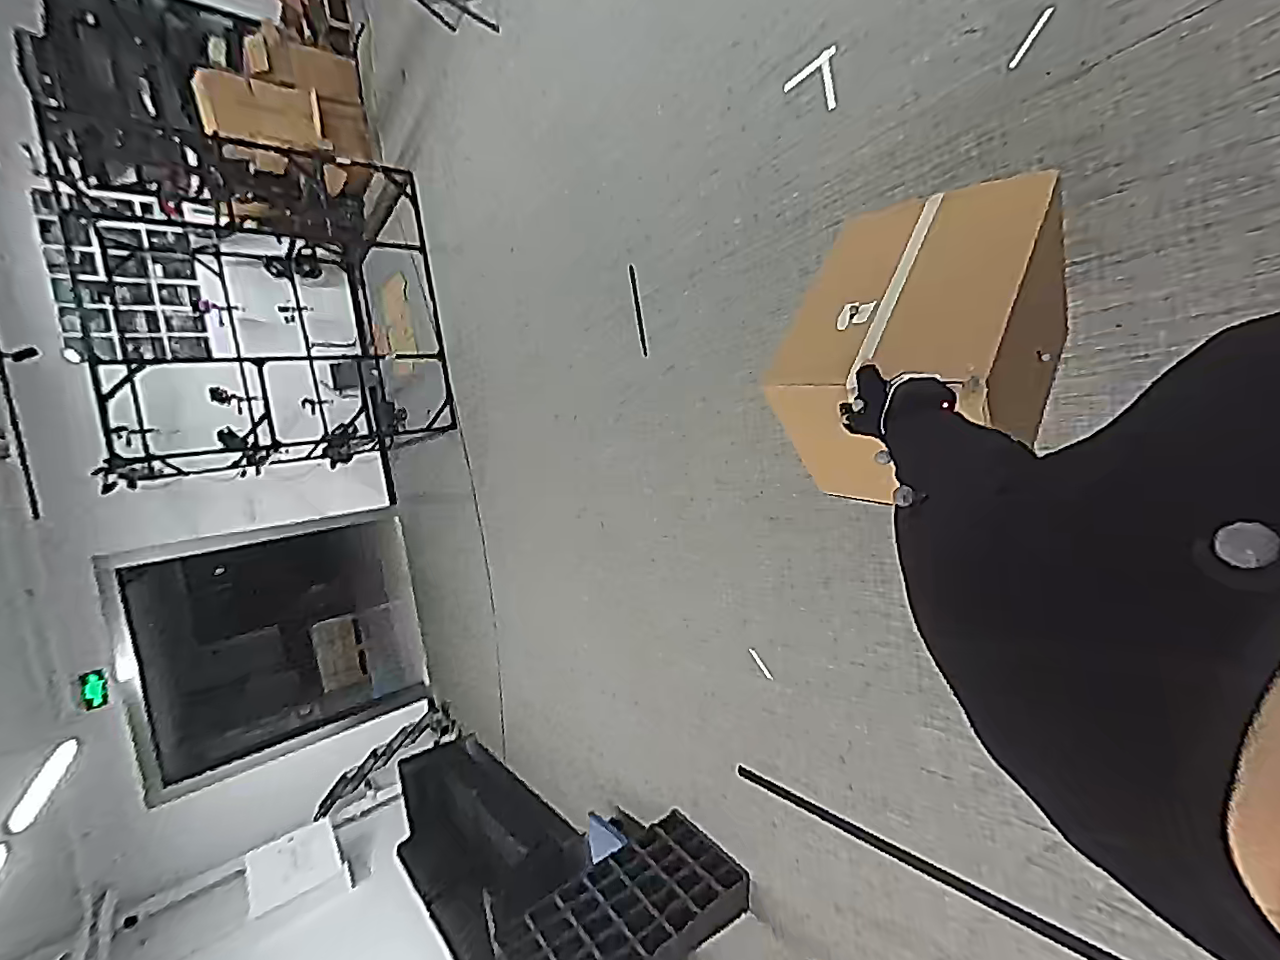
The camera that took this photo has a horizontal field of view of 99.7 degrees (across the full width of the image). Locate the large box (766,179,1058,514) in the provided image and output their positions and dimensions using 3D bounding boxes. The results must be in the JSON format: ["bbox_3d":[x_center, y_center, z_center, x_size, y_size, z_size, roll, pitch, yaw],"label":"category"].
[{"bbox_3d":[0.474,-0.207,0.909,0.320,0.320,0.408,8,60,46],"label":"large box"}]
